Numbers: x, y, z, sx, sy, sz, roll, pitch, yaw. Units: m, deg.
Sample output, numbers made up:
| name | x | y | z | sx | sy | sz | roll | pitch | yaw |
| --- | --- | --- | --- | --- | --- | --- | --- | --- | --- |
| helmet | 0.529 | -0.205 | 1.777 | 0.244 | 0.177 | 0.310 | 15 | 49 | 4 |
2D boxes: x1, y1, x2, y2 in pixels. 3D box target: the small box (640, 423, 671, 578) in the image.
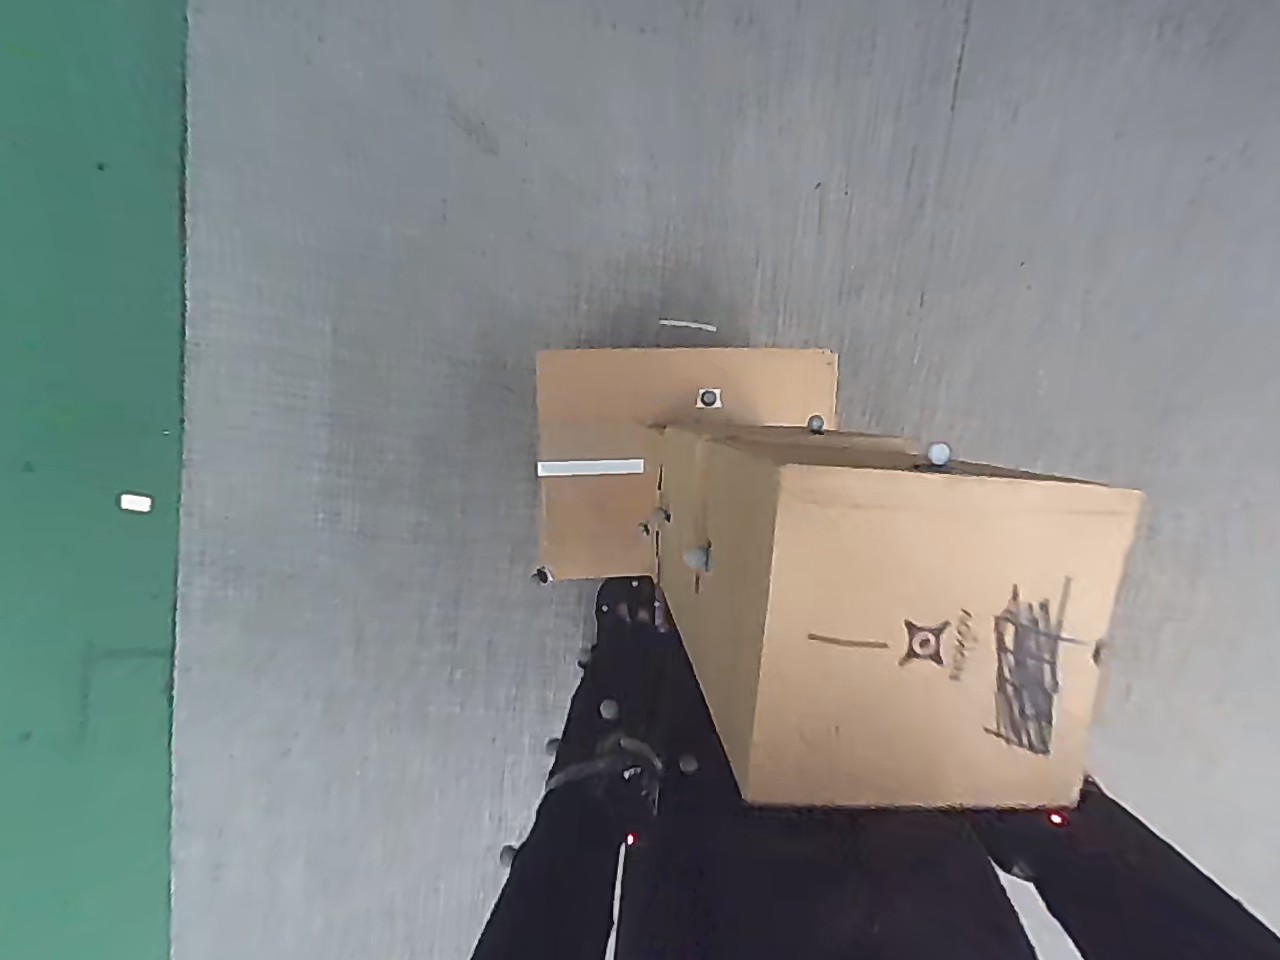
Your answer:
| name | x | y | z | sx | sy | sz | roll | pitch | yaw |
| --- | --- | --- | --- | --- | --- | --- | --- | --- | --- |
| small box | 0.095 | 0.018 | 0.661 | 0.179 | 0.176 | 0.168 | 1 | 98 | -7 |

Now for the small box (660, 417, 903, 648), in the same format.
| name | x | y | z | sx | sy | sz | roll | pitch | yaw |
| --- | --- | --- | --- | --- | --- | --- | --- | --- | --- |
| small box | 0.112 | 0.037 | 0.500 | 0.168 | 0.176 | 0.179 | 1 | 99 | -5 |

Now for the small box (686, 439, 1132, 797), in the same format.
| name | x | y | z | sx | sy | sz | roll | pitch | yaw |
| --- | --- | --- | --- | --- | --- | --- | --- | --- | --- |
| small box | 0.134 | 0.064 | 0.337 | 0.179 | 0.176 | 0.168 | 4 | 97 | -5 |
